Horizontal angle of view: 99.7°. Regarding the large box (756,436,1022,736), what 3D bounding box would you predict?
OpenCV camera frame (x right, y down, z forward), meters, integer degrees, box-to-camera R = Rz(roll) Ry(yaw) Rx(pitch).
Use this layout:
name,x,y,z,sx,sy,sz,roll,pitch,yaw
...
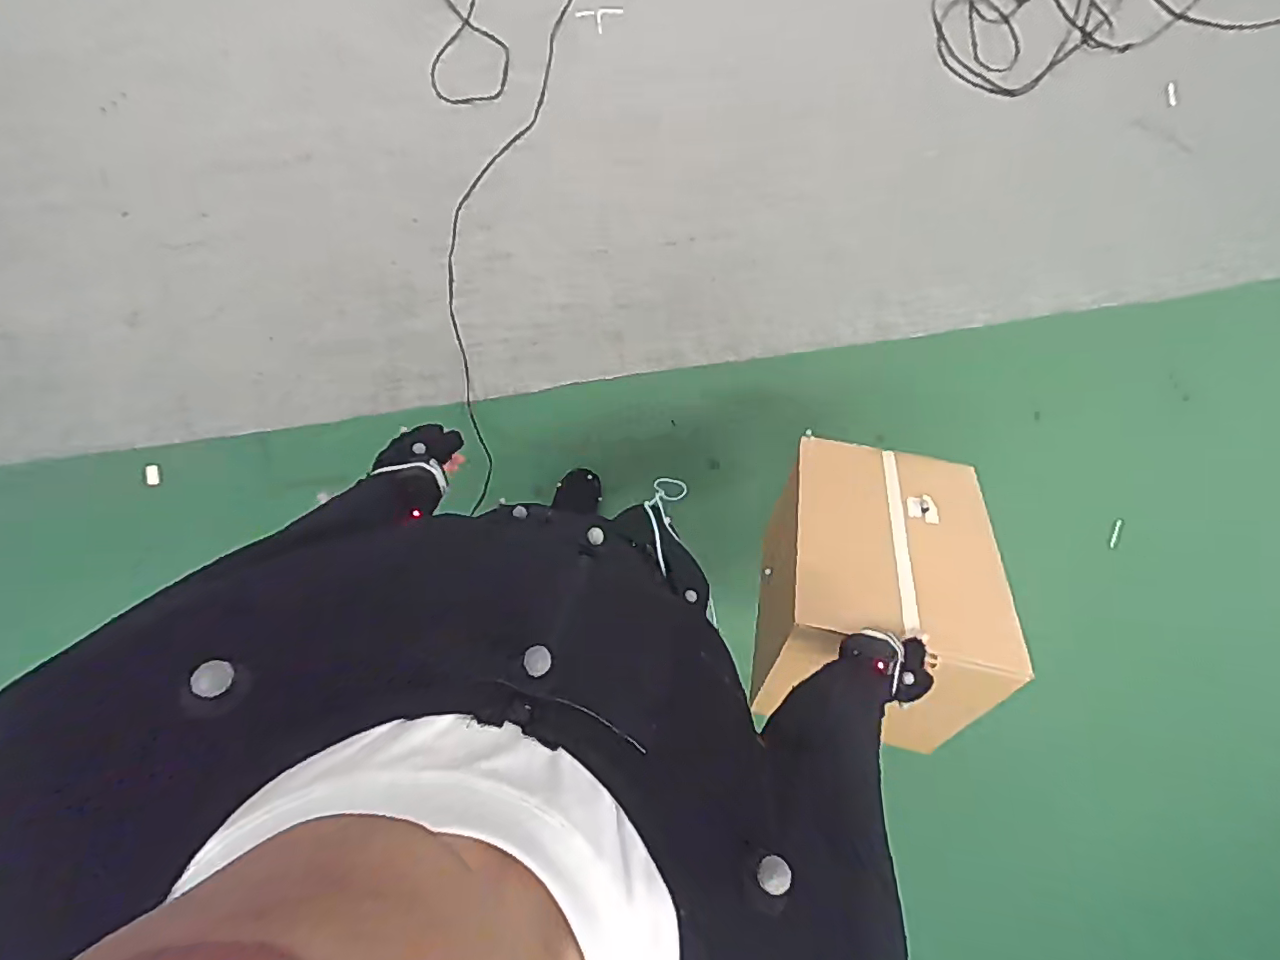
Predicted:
name,x,y,z,sx,sy,sz,roll,pitch,yaw
large box,0.400,0.184,0.984,0.320,0.320,0.408,12,46,6
